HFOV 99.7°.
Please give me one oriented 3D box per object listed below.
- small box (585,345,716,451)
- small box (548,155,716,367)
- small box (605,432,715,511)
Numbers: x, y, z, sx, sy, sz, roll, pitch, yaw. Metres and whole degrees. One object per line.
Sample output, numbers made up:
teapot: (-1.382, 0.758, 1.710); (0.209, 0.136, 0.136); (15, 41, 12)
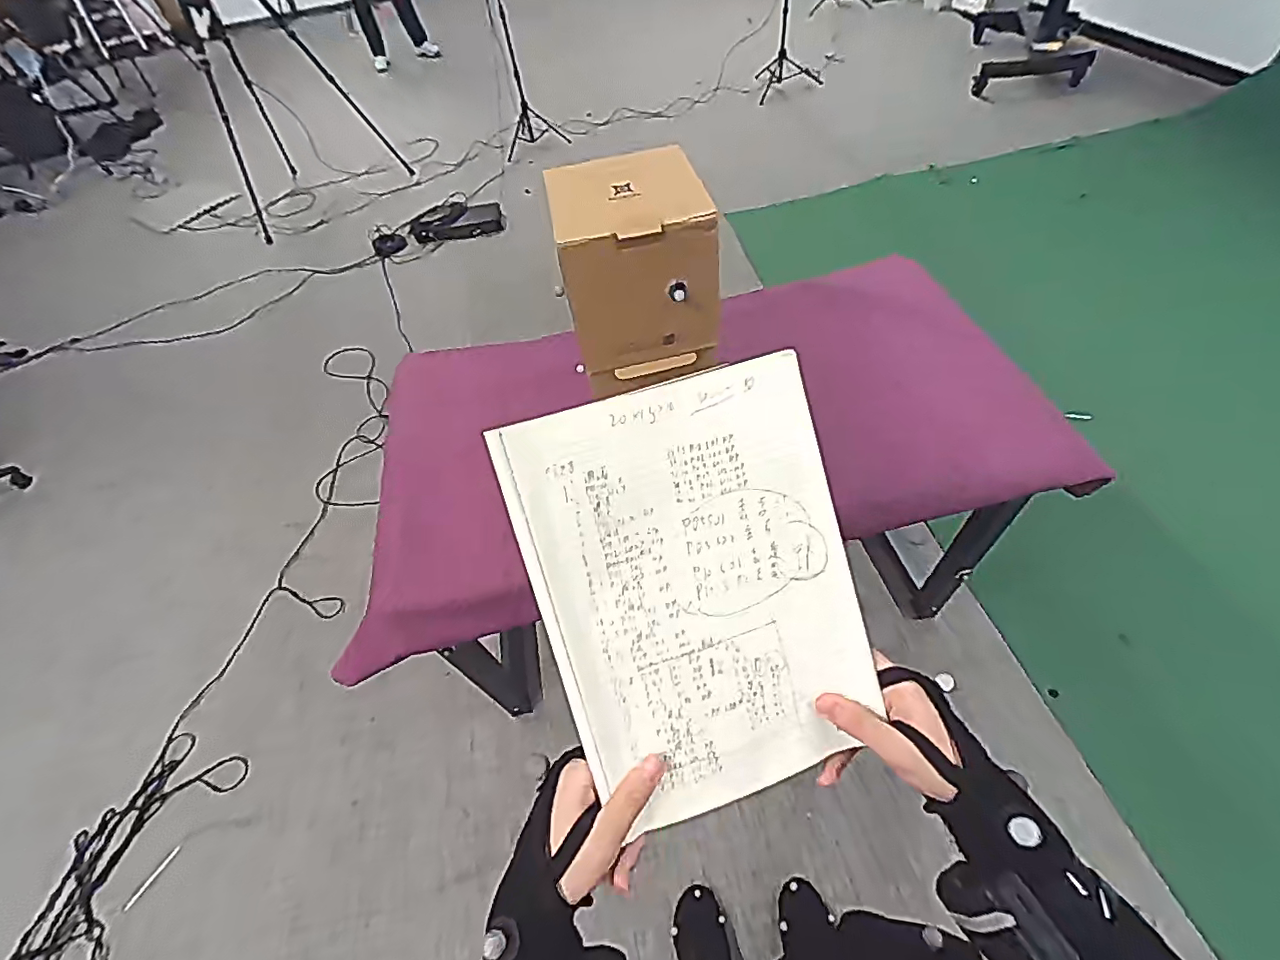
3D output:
small box: (0.011, -0.159, 0.782); (0.168, 0.176, 0.179); (-13, 51, -2)
small box: (-0.006, -0.254, 0.651); (0.168, 0.176, 0.179); (-12, 52, -2)
small box: (0.028, -0.064, 0.916); (0.168, 0.176, 0.179); (-12, 53, -2)
